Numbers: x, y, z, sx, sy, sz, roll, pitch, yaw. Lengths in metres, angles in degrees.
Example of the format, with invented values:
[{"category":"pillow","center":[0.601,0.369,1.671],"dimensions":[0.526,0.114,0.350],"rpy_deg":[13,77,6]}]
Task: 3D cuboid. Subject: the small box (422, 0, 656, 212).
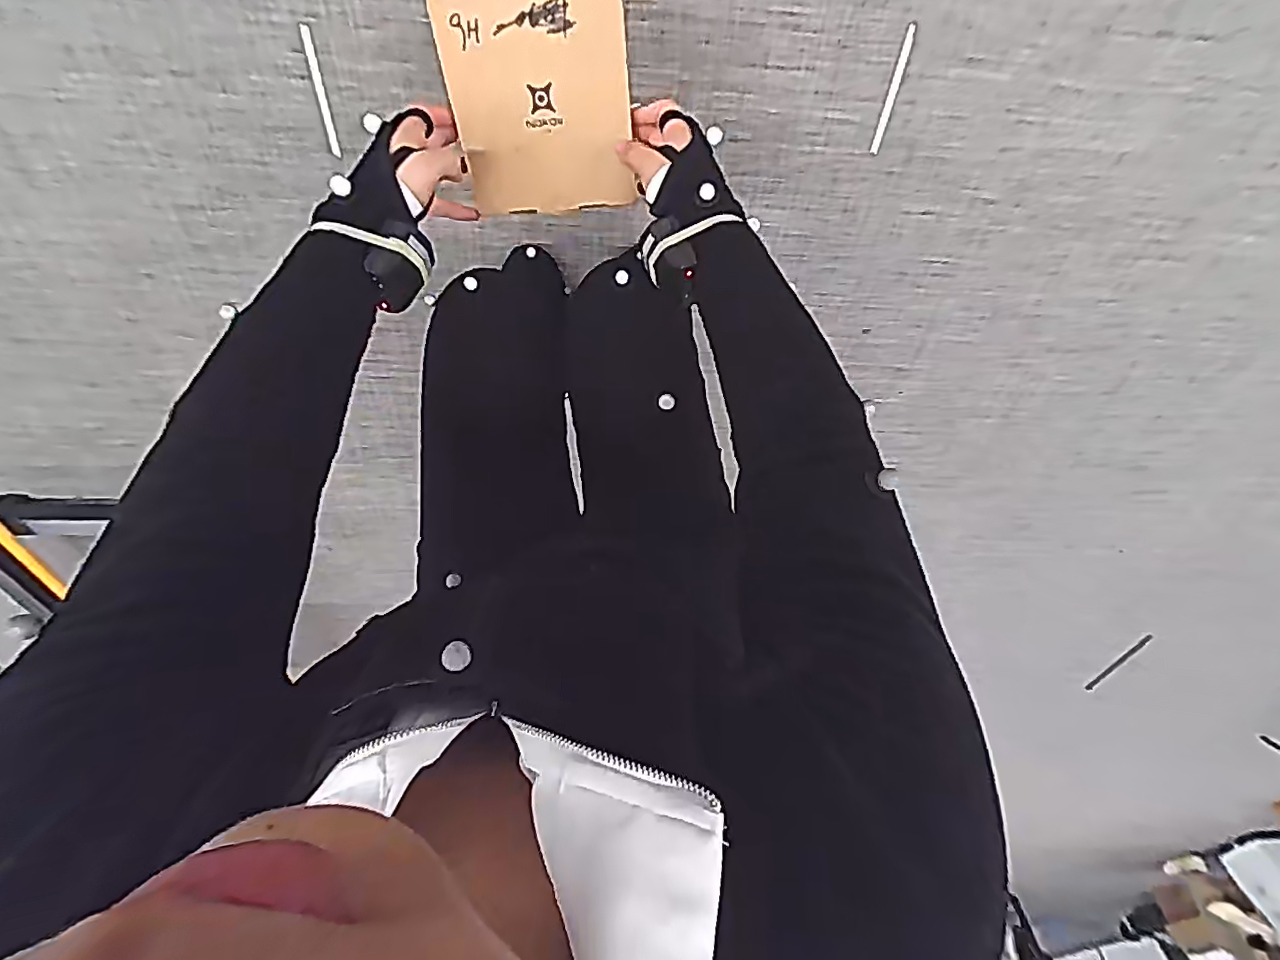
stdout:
[{"category":"small box","center":[-0.072,-0.361,0.479],"dimensions":[0.168,0.176,0.179],"rpy_deg":[-4,132,2]}]
